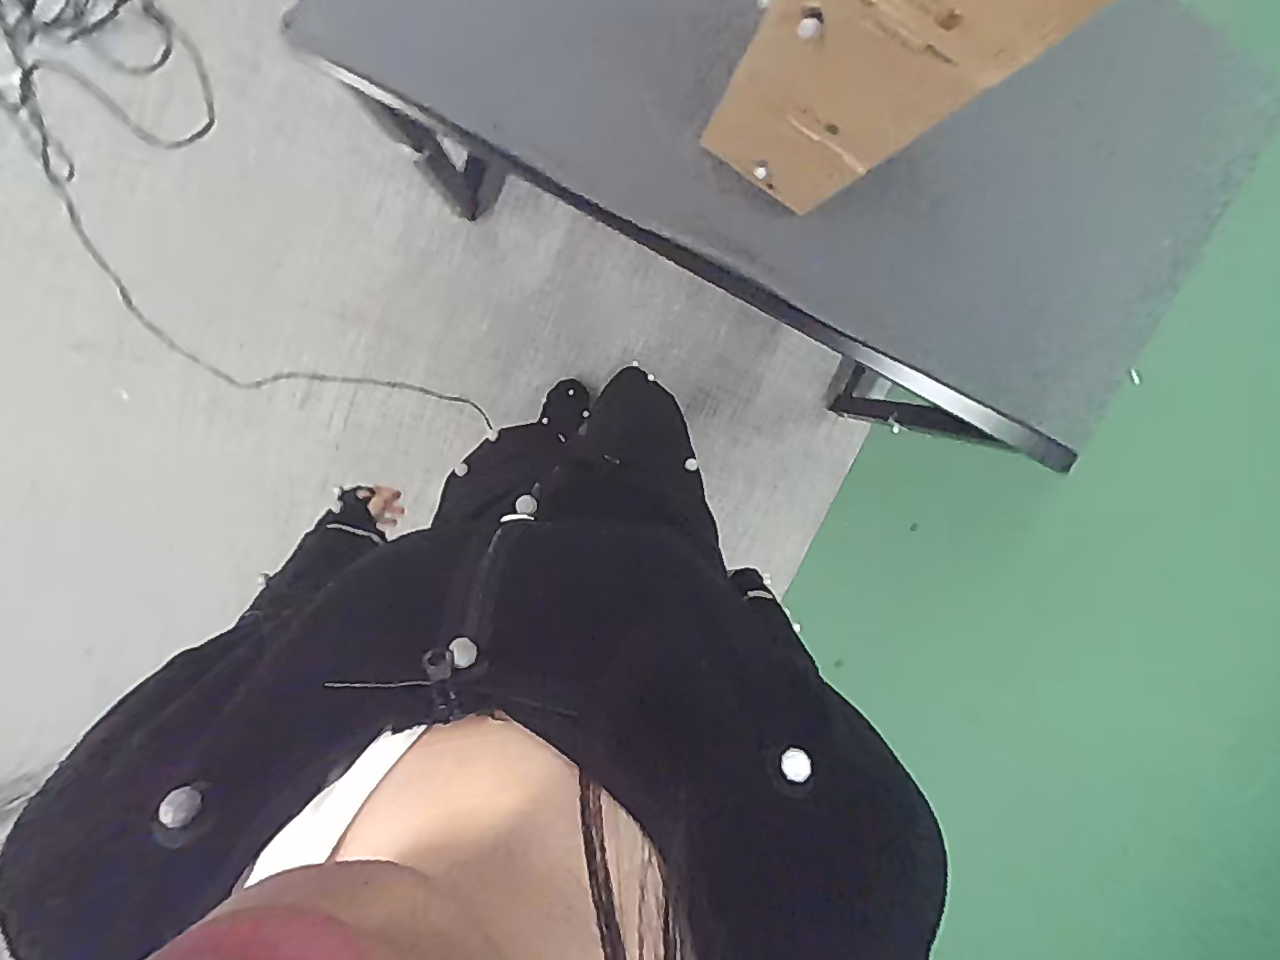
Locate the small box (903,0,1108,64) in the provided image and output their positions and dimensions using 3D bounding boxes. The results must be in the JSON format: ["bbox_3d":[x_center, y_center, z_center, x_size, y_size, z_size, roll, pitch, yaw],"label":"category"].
[{"bbox_3d":[0.242,-0.390,0.290,0.168,0.176,0.179,24,98,-11],"label":"small box"}]

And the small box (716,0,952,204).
[{"bbox_3d":[0.206,-0.453,0.608,0.168,0.176,0.179,29,97,-11],"label":"small box"}]
